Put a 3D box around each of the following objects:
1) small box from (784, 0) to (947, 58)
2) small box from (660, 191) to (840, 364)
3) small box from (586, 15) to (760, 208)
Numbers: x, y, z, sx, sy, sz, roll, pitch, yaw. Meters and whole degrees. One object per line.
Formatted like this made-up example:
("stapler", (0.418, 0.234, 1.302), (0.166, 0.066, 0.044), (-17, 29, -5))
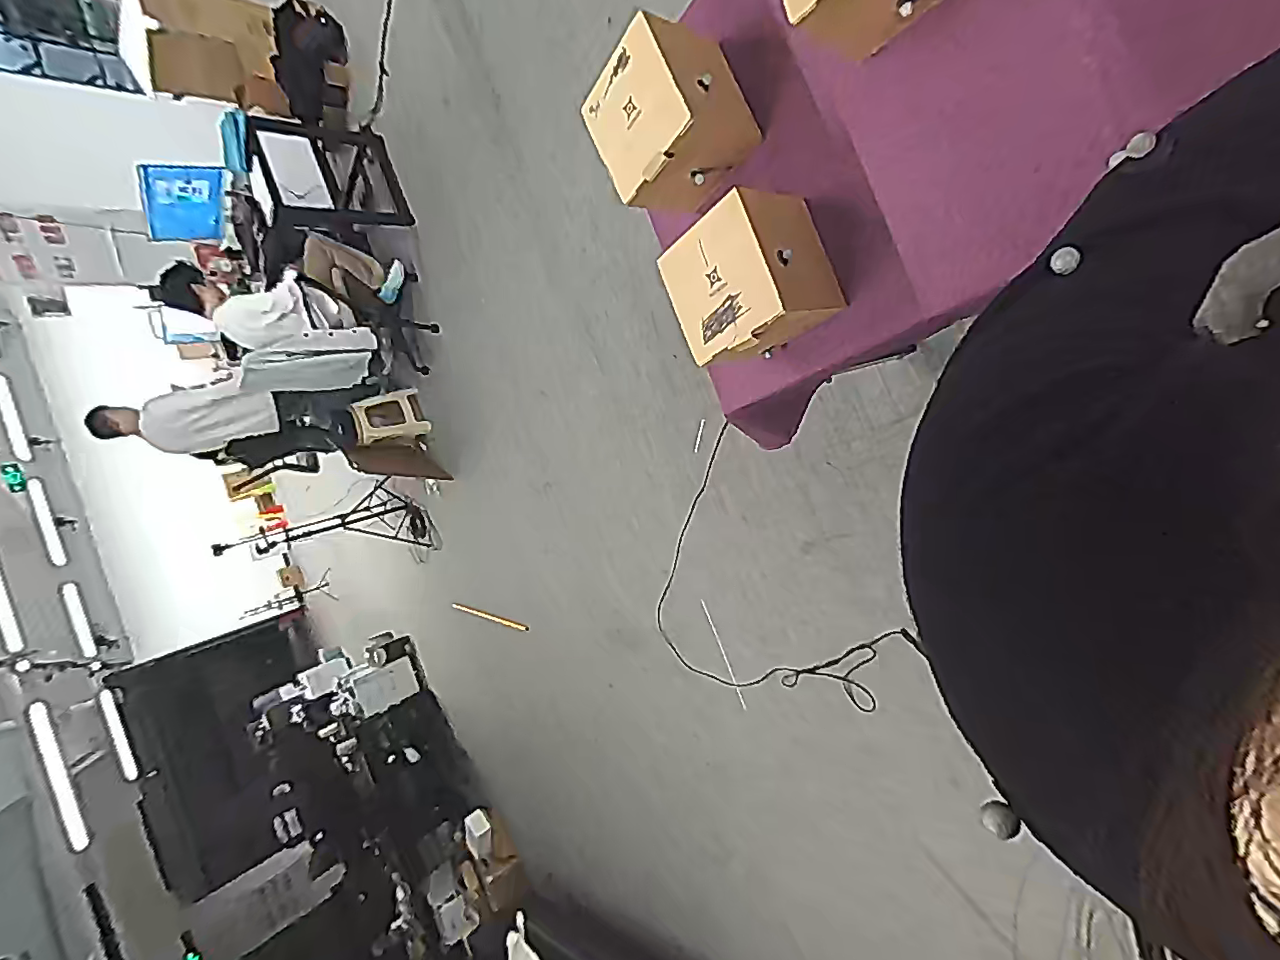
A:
("small box", (0.254, -0.610, 0.581), (0.168, 0.176, 0.179), (-12, 96, 50))
("small box", (0.166, -0.292, 0.800), (0.168, 0.176, 0.179), (-24, 84, 49))
("small box", (0.053, -0.546, 0.830), (0.168, 0.176, 0.179), (-29, 83, 48))
